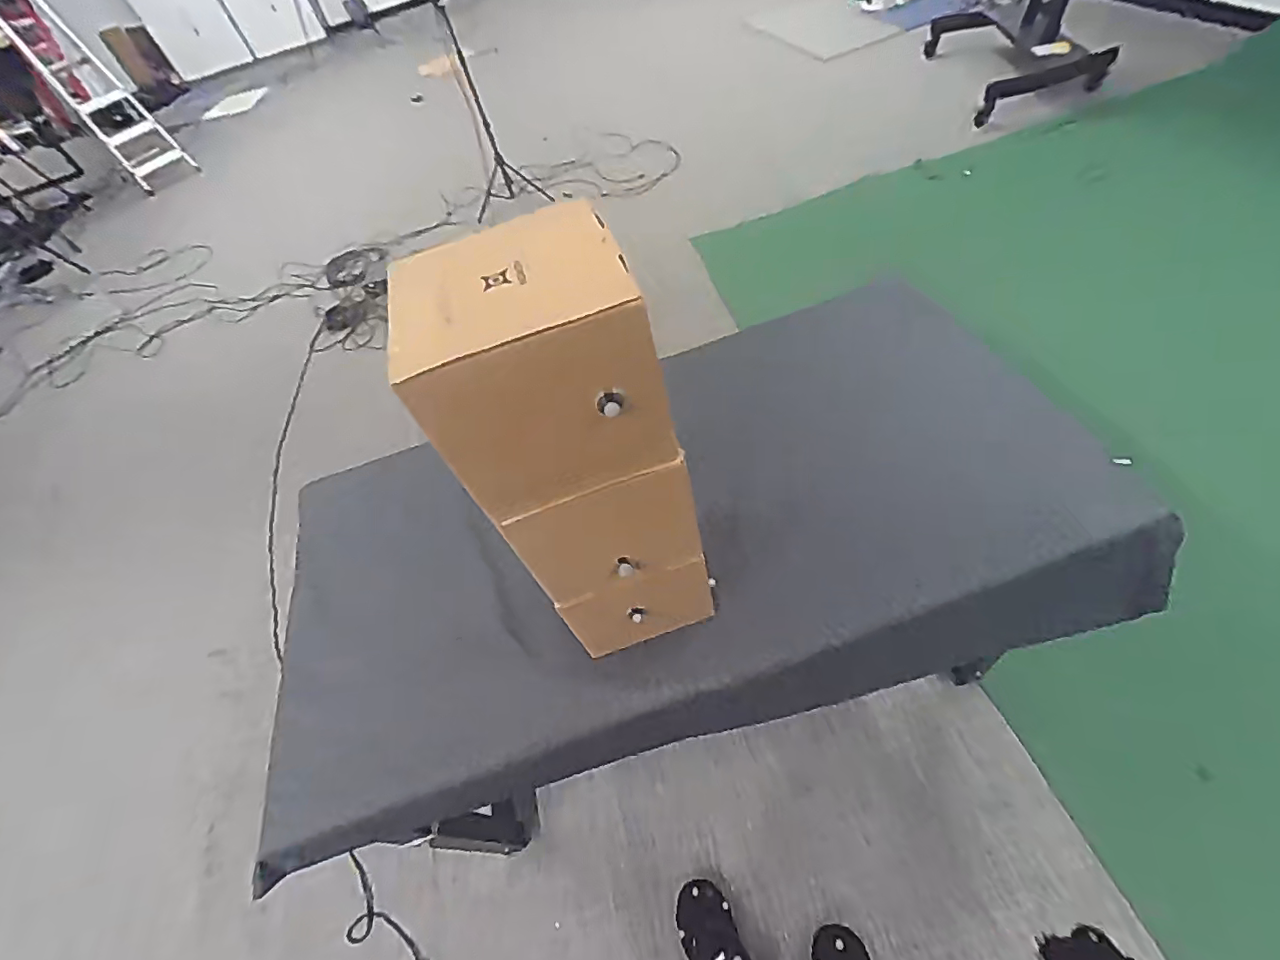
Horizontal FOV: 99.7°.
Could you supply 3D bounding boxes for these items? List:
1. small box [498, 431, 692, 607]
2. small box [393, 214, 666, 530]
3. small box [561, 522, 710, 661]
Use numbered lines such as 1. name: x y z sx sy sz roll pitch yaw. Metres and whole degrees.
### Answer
1. small box: -0.049 0.012 0.587 0.179 0.176 0.168 -19 51 -1
2. small box: -0.085 -0.087 0.463 0.179 0.176 0.168 -21 50 -1
3. small box: -0.016 0.111 0.712 0.179 0.176 0.168 -21 52 -4
